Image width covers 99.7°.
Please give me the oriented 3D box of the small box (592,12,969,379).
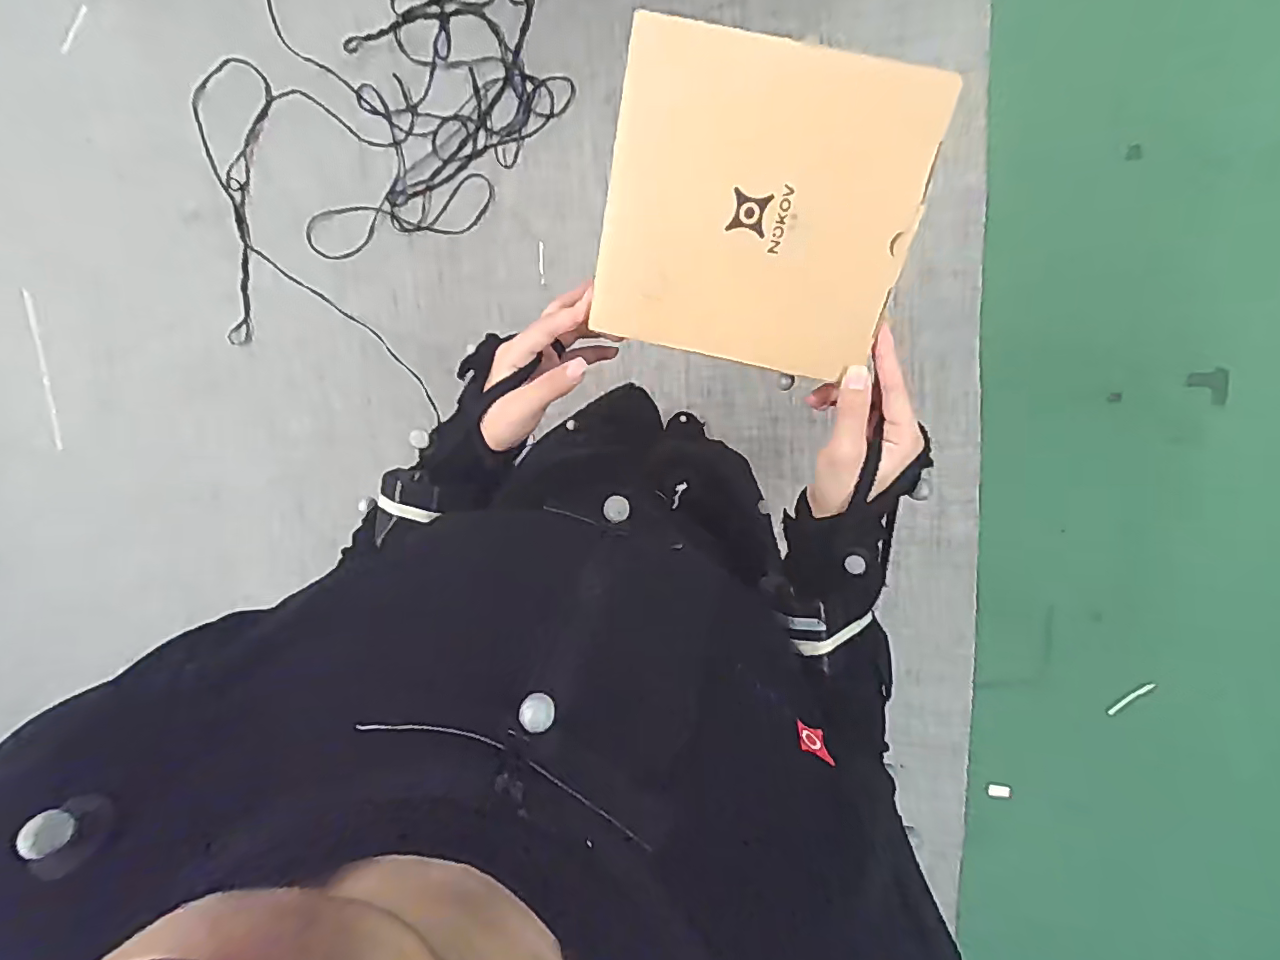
[{"bbox_3d":[0.078,-0.180,0.381,0.179,0.176,0.168,12,111,2],"label":"small box"}]
